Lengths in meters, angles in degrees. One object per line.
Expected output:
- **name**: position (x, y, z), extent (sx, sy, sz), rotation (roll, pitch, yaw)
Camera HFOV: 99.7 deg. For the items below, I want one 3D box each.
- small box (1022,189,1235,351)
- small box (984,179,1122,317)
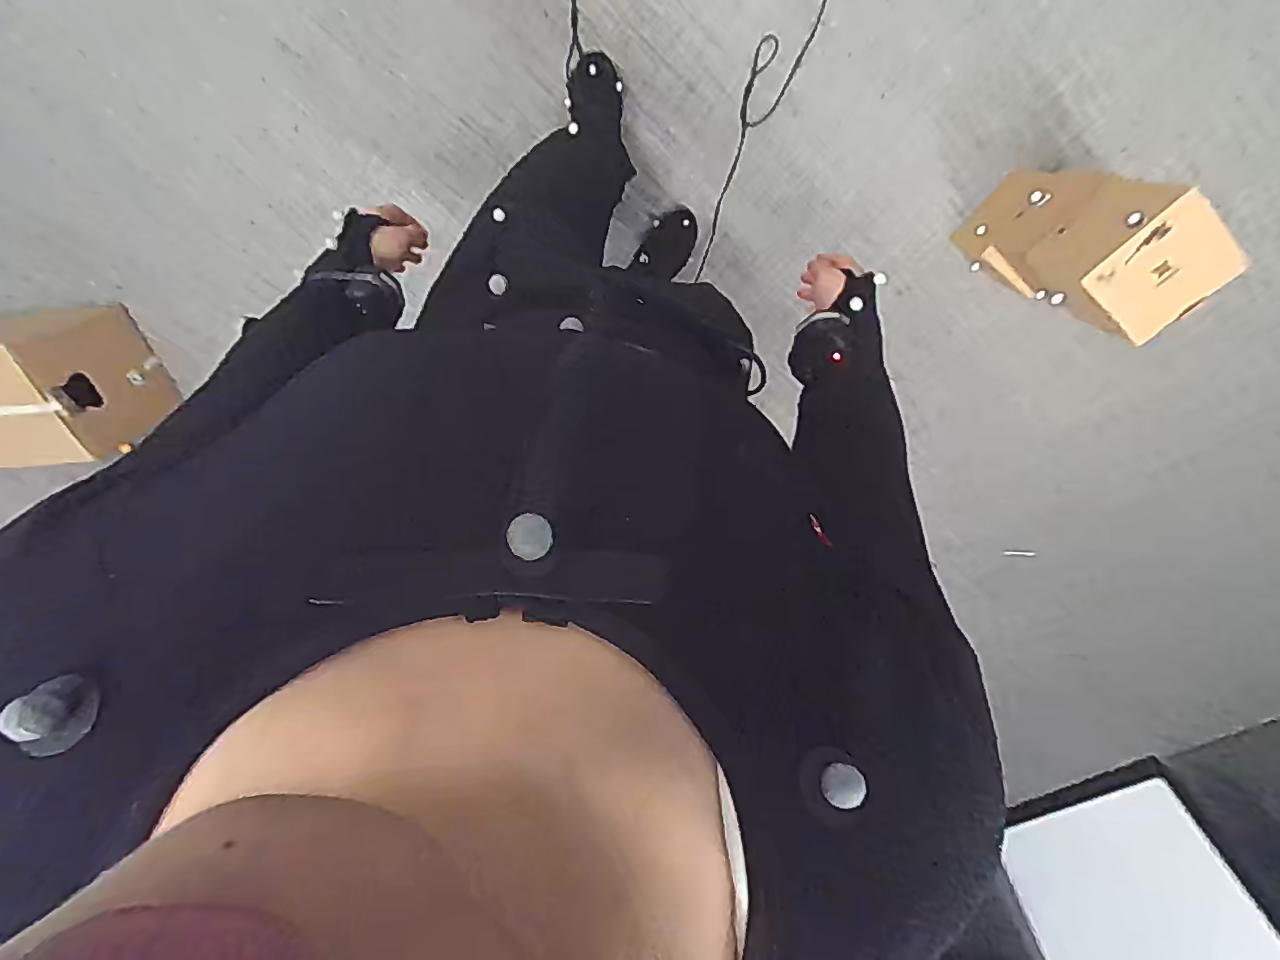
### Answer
- **small box**: position (0.792, -0.352, 0.895), extent (0.179, 0.176, 0.168), rotation (34, 119, -19)
- **small box**: position (0.810, -0.446, 1.029), extent (0.179, 0.176, 0.168), rotation (35, 119, -17)
